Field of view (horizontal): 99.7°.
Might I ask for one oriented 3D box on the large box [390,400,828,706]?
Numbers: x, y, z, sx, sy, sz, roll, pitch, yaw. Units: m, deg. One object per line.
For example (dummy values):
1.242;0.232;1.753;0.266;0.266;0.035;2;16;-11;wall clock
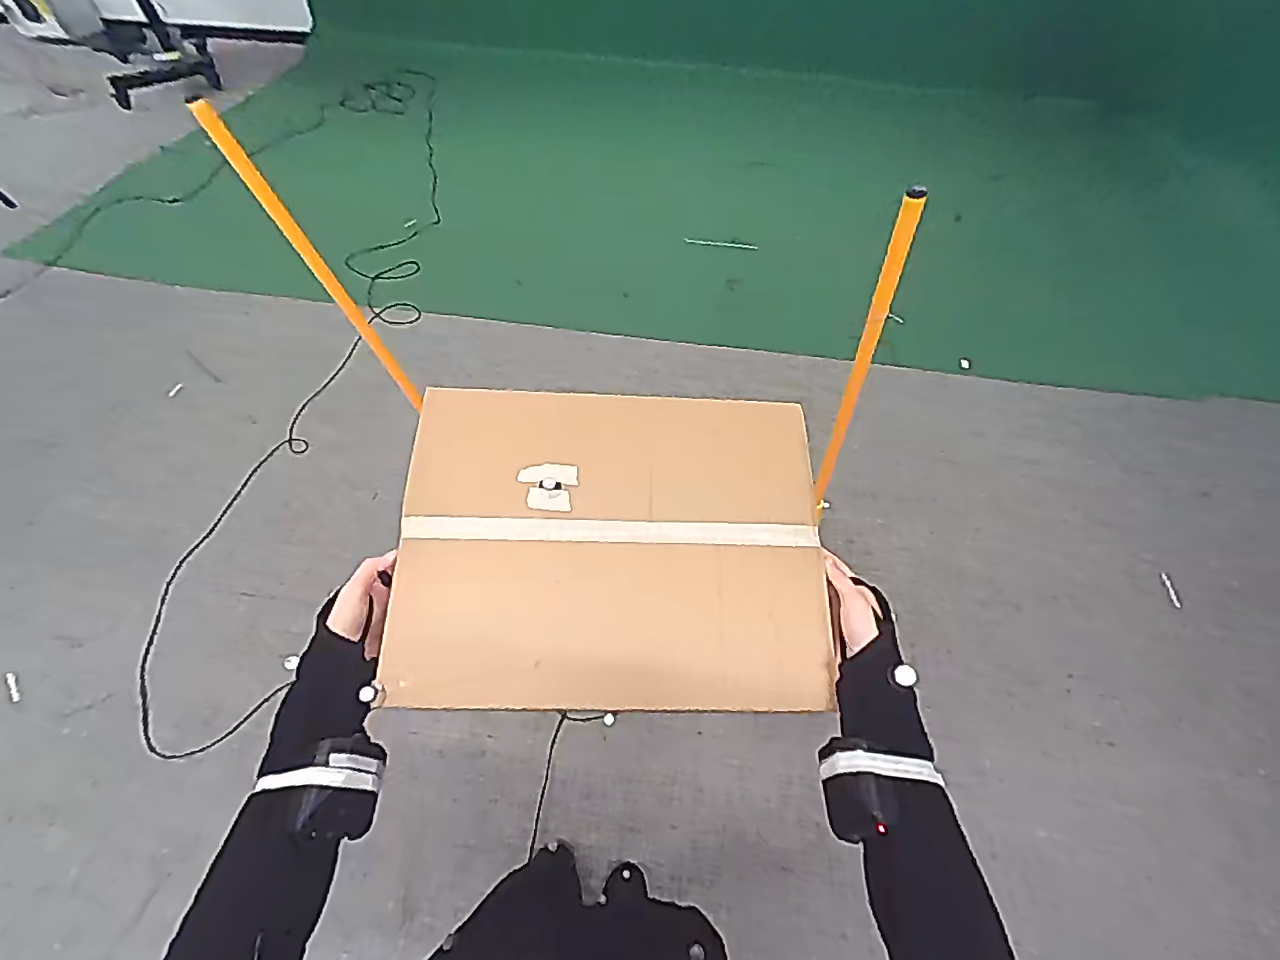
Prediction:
-0.031;0.110;0.678;0.408;0.320;0.320;1;67;-3;large box
